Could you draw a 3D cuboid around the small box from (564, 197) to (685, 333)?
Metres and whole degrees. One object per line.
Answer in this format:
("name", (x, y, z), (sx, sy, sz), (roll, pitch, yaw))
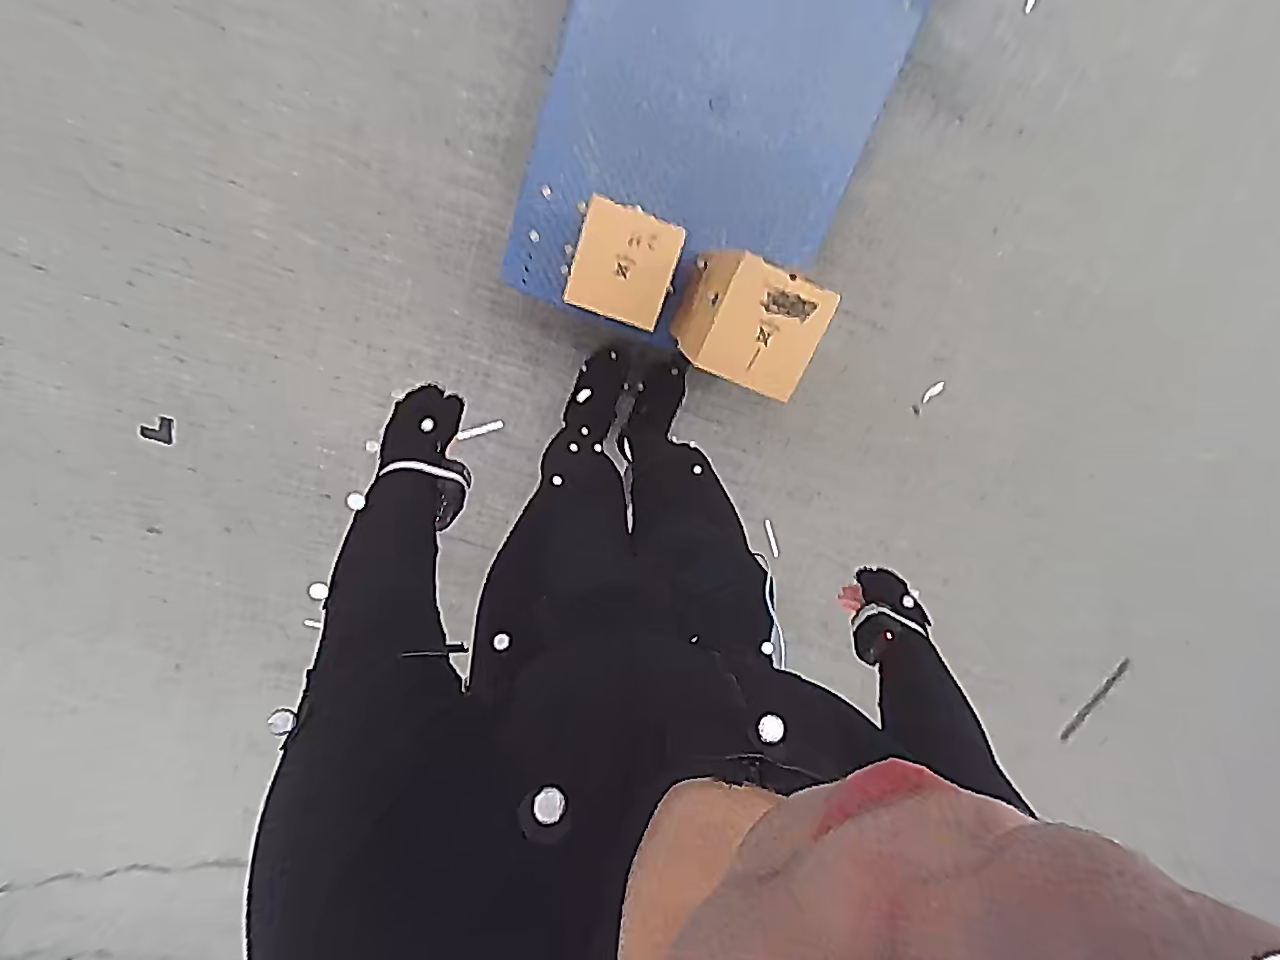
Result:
("small box", (-0.033, -0.390, 0.989), (0.168, 0.176, 0.179), (16, 110, -12))

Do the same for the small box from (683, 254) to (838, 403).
("small box", (0.182, -0.253, 0.886), (0.168, 0.176, 0.179), (20, 110, -12))
